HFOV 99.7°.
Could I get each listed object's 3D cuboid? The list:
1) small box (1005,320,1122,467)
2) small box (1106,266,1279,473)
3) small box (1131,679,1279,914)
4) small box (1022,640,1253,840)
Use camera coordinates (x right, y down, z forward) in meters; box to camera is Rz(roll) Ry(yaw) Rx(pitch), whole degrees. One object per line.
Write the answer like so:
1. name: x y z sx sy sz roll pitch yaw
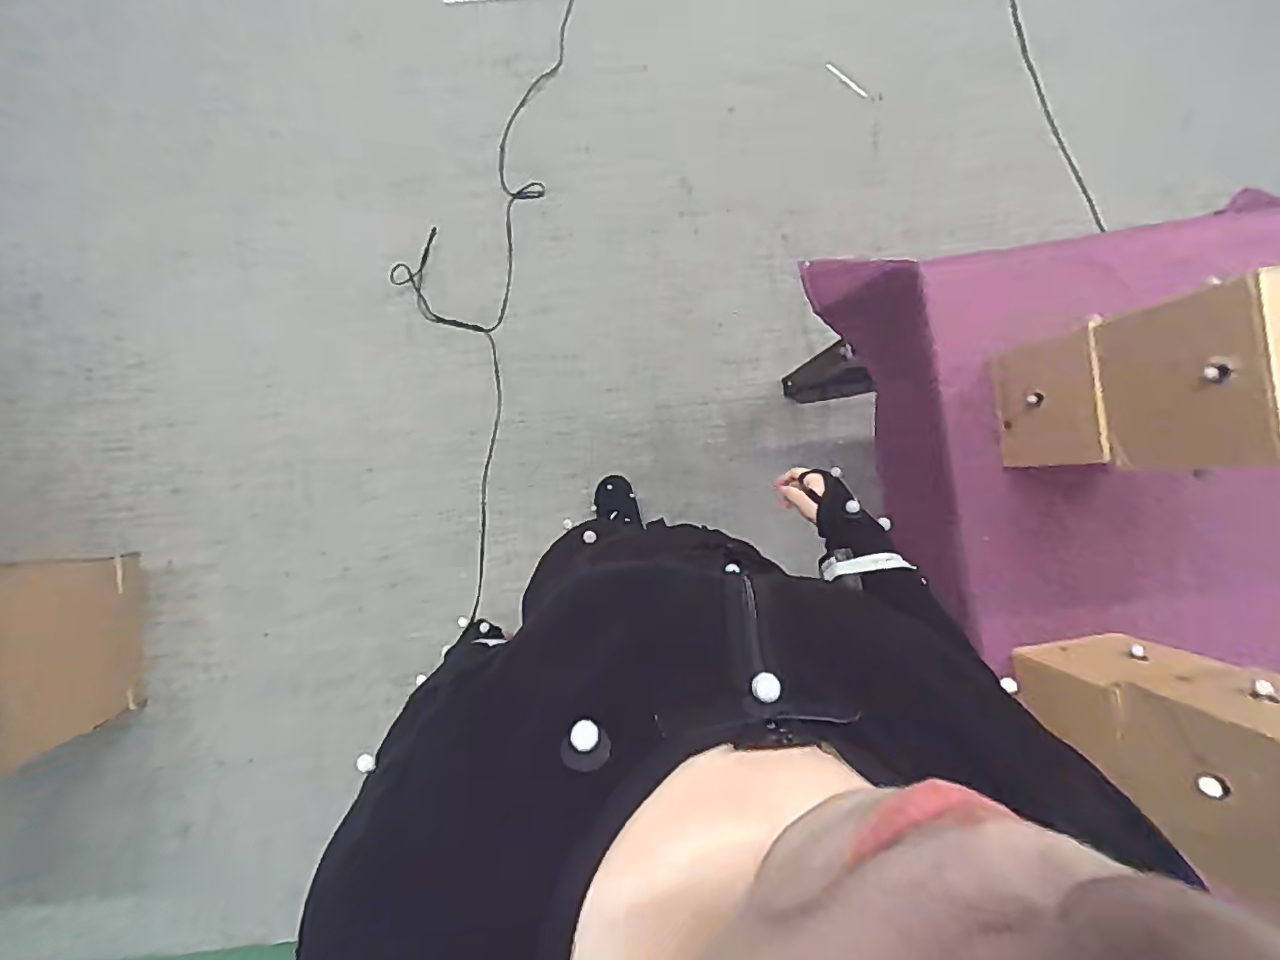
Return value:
1. small box: 0.612 -0.108 0.706 0.179 0.176 0.168 -6 90 -2
2. small box: 0.619 -0.104 0.542 0.168 0.176 0.179 -8 90 -1
3. small box: 0.645 0.311 0.541 0.168 0.176 0.179 -4 89 -2
4. small box: 0.639 0.319 0.705 0.168 0.176 0.179 -8 90 -2
